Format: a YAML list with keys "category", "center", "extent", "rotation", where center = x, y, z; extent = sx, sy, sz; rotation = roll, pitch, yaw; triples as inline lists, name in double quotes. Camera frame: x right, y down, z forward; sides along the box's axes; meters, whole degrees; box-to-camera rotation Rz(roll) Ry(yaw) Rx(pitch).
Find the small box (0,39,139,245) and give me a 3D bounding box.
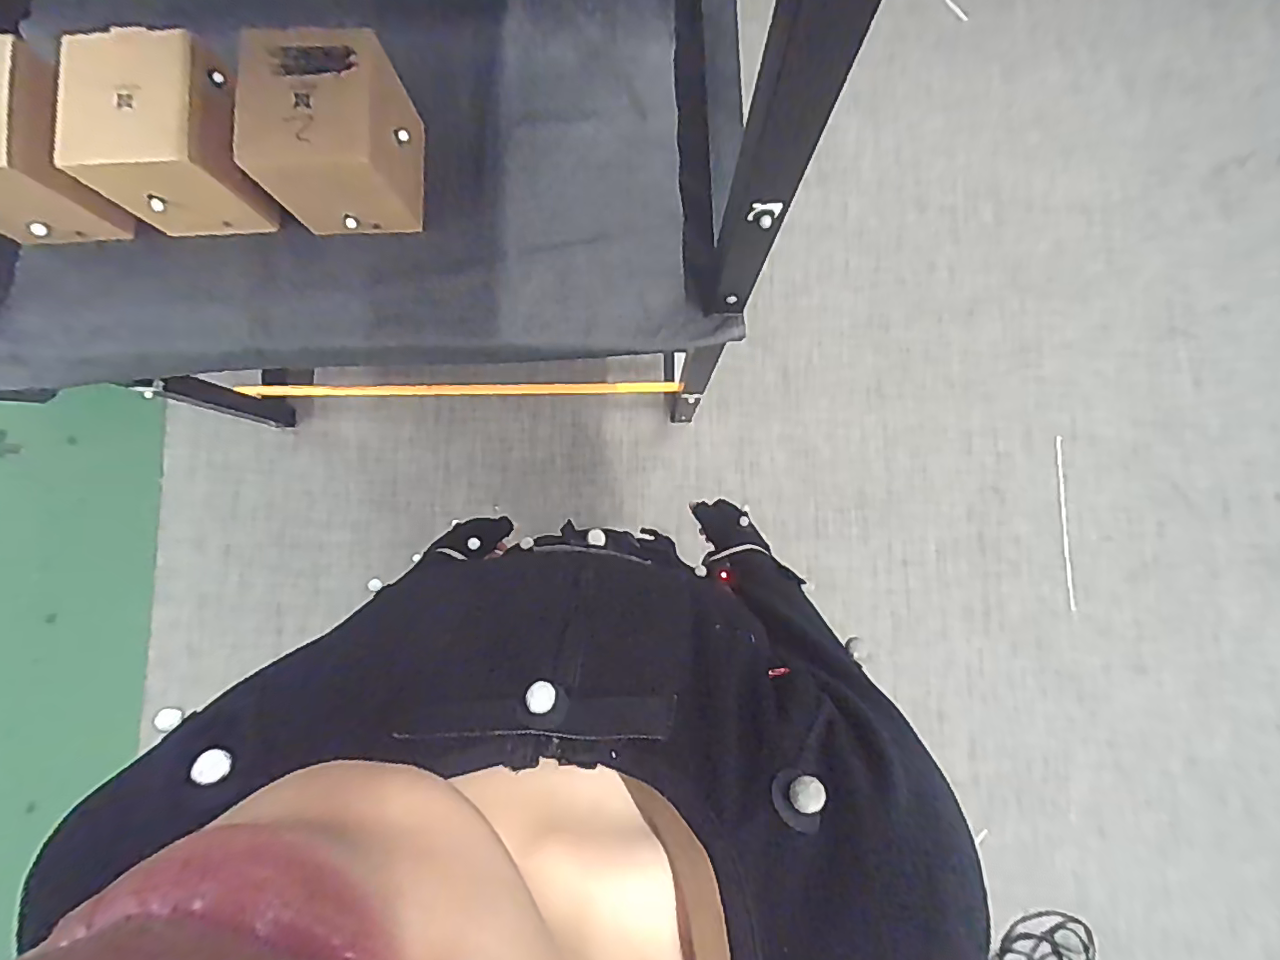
- category: "small box"
  center: [-0.846, -0.452, 0.744]
  extent: [0.168, 0.176, 0.179]
  rotation: [-3, 85, 0]
